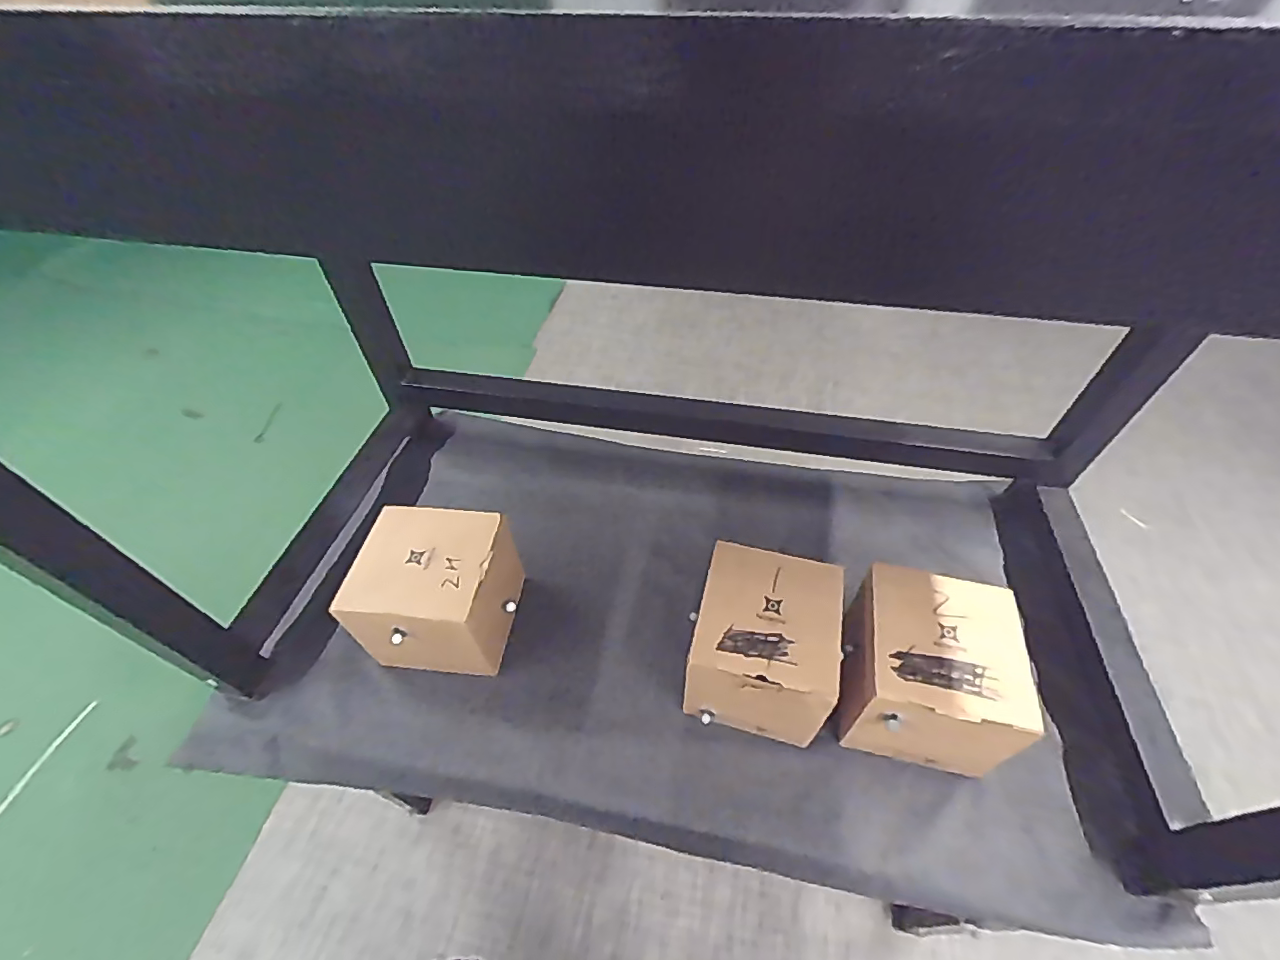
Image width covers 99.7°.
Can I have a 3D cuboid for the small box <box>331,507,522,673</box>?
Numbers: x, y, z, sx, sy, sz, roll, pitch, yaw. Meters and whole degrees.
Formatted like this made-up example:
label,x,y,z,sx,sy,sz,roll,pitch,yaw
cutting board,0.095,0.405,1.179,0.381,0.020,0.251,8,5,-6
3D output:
label,x,y,z,sx,sy,sz,roll,pitch,yaw
small box,-0.284,0.158,0.766,0.179,0.176,0.168,5,49,5
